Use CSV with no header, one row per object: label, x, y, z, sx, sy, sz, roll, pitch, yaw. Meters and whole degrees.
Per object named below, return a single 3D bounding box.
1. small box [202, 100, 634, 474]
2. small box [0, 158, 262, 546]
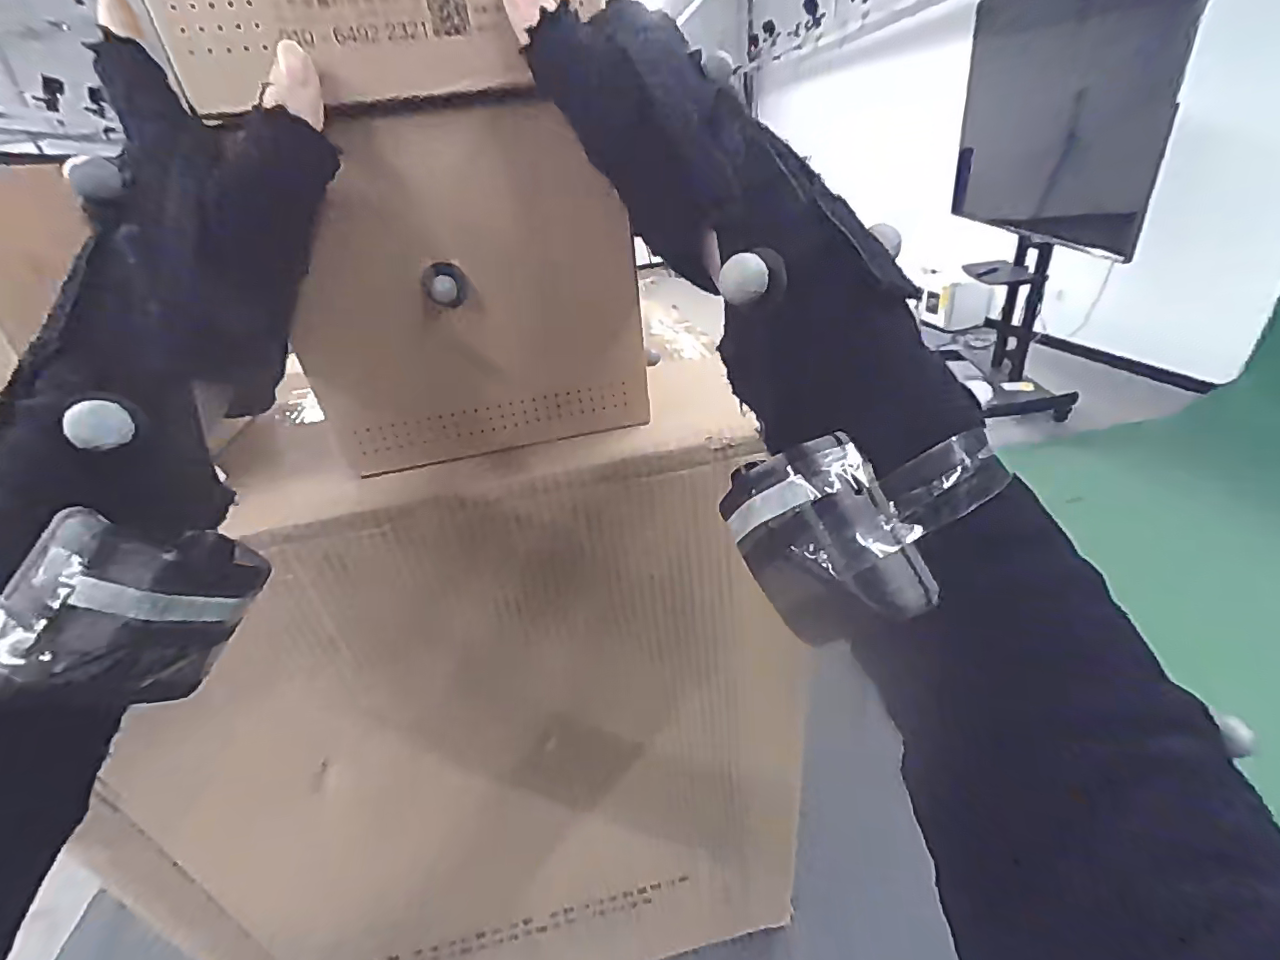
small box,-0.102,-0.123,0.339,0.179,0.176,0.168,-11,31,-6
small box,-0.359,-0.071,0.305,0.168,0.176,0.179,-11,32,-7
